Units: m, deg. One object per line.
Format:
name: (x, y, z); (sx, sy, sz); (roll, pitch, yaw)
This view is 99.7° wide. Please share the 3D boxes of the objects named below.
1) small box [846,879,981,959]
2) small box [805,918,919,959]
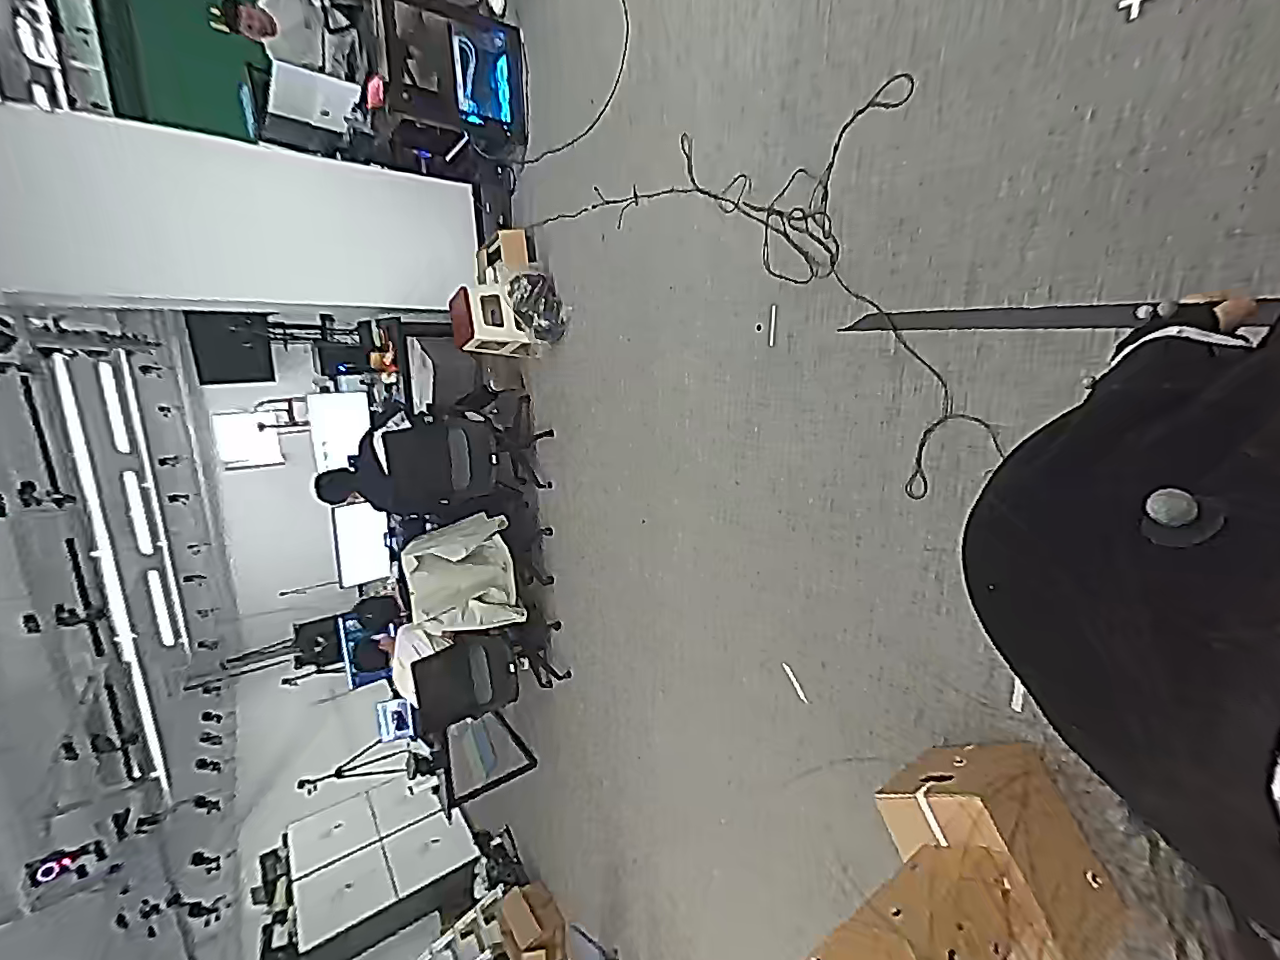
small box: (0.587, 0.986, 1.150); (0.179, 0.176, 0.168); (-46, 61, 49)
small box: (0.453, 1.007, 1.059); (0.179, 0.176, 0.168); (-45, 62, 51)
